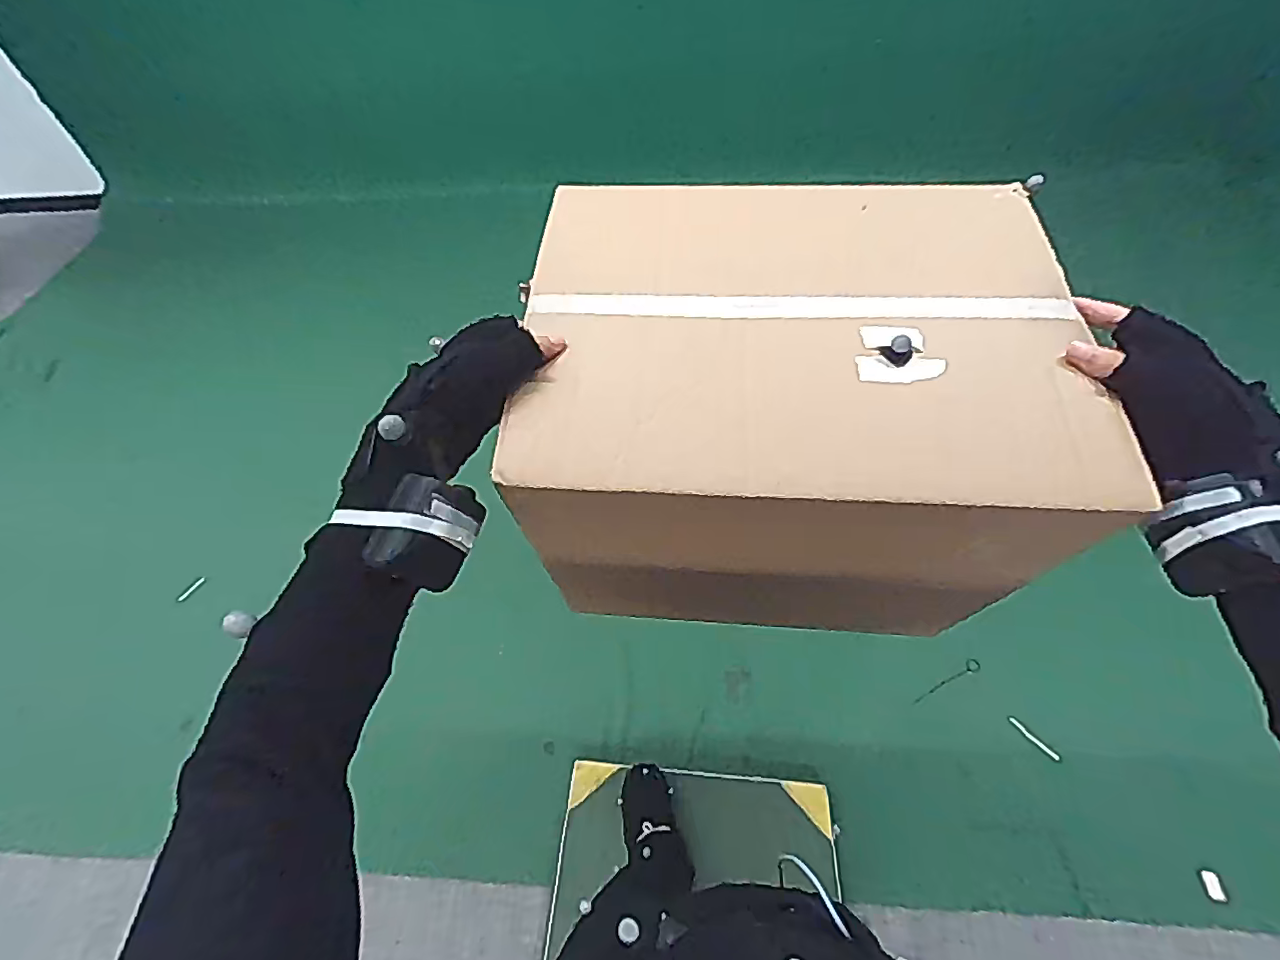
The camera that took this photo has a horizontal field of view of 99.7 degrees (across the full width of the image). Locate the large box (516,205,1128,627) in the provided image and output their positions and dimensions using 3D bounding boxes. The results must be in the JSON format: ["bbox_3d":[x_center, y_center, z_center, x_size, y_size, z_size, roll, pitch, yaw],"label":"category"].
[{"bbox_3d":[0.124,-0.047,0.553,0.408,0.320,0.320,2,61,4],"label":"large box"}]
